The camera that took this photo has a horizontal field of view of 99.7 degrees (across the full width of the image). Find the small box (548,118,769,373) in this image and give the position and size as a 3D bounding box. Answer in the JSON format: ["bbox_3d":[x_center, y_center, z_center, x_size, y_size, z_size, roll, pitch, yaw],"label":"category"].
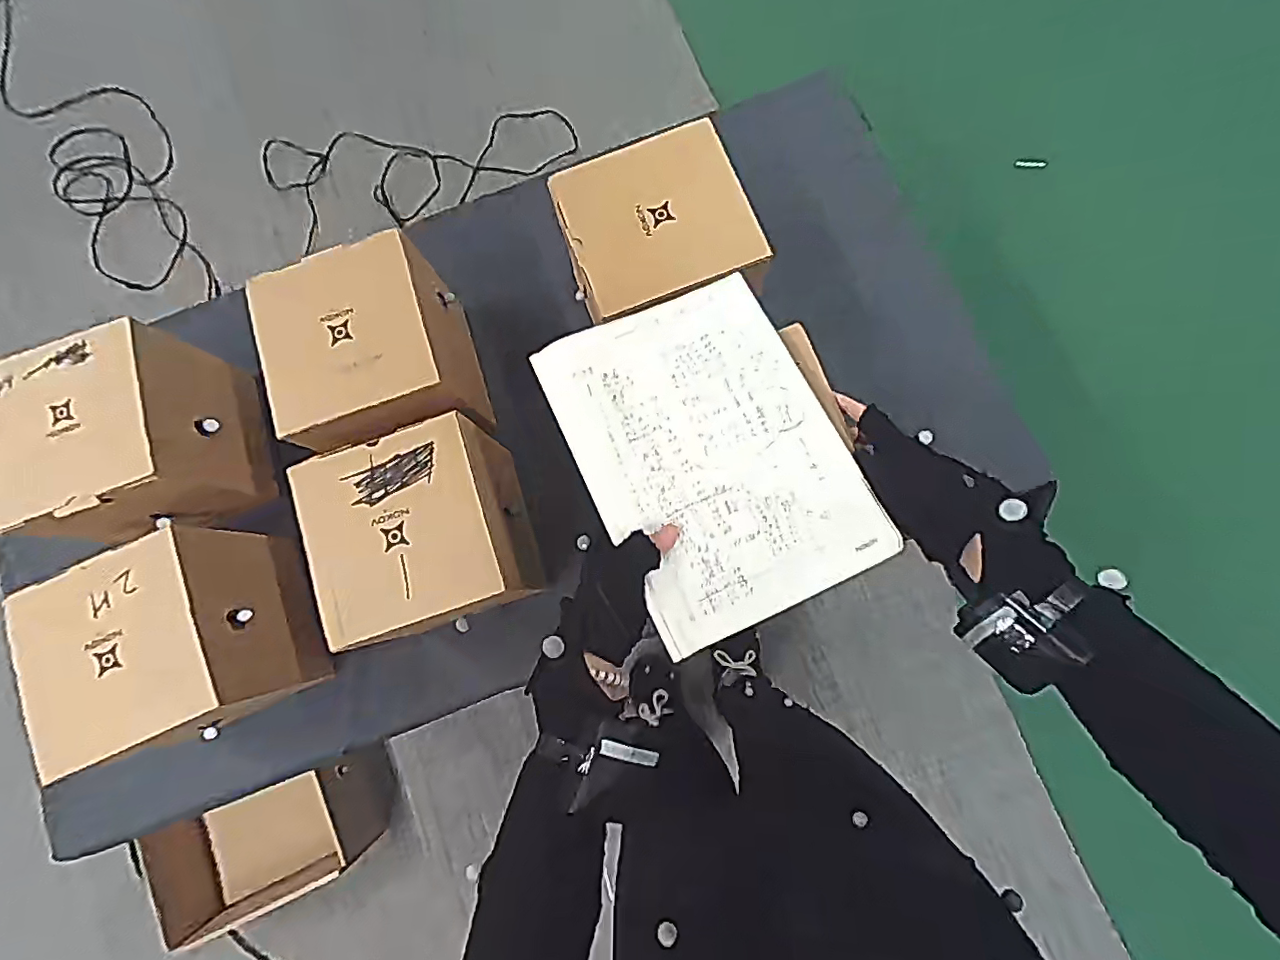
[{"bbox_3d":[0.020,-0.243,0.602,0.179,0.176,0.168,-21,80,1],"label":"small box"}]
